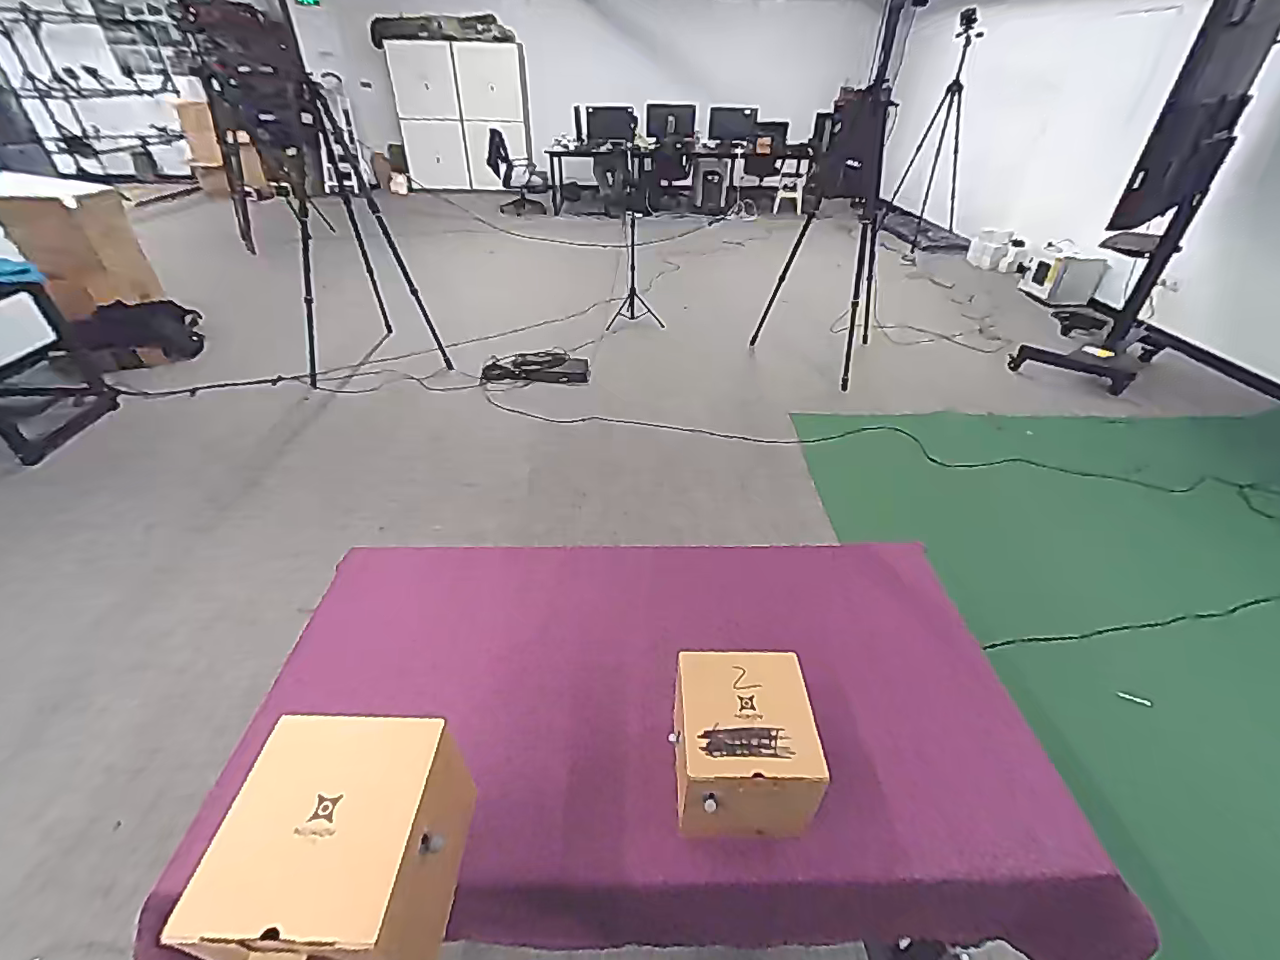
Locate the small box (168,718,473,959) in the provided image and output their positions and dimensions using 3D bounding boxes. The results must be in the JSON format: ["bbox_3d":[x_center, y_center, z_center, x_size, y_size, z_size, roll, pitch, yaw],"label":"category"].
[{"bbox_3d":[-0.270,0.353,0.514,0.168,0.176,0.179,1,40,1],"label":"small box"}]
